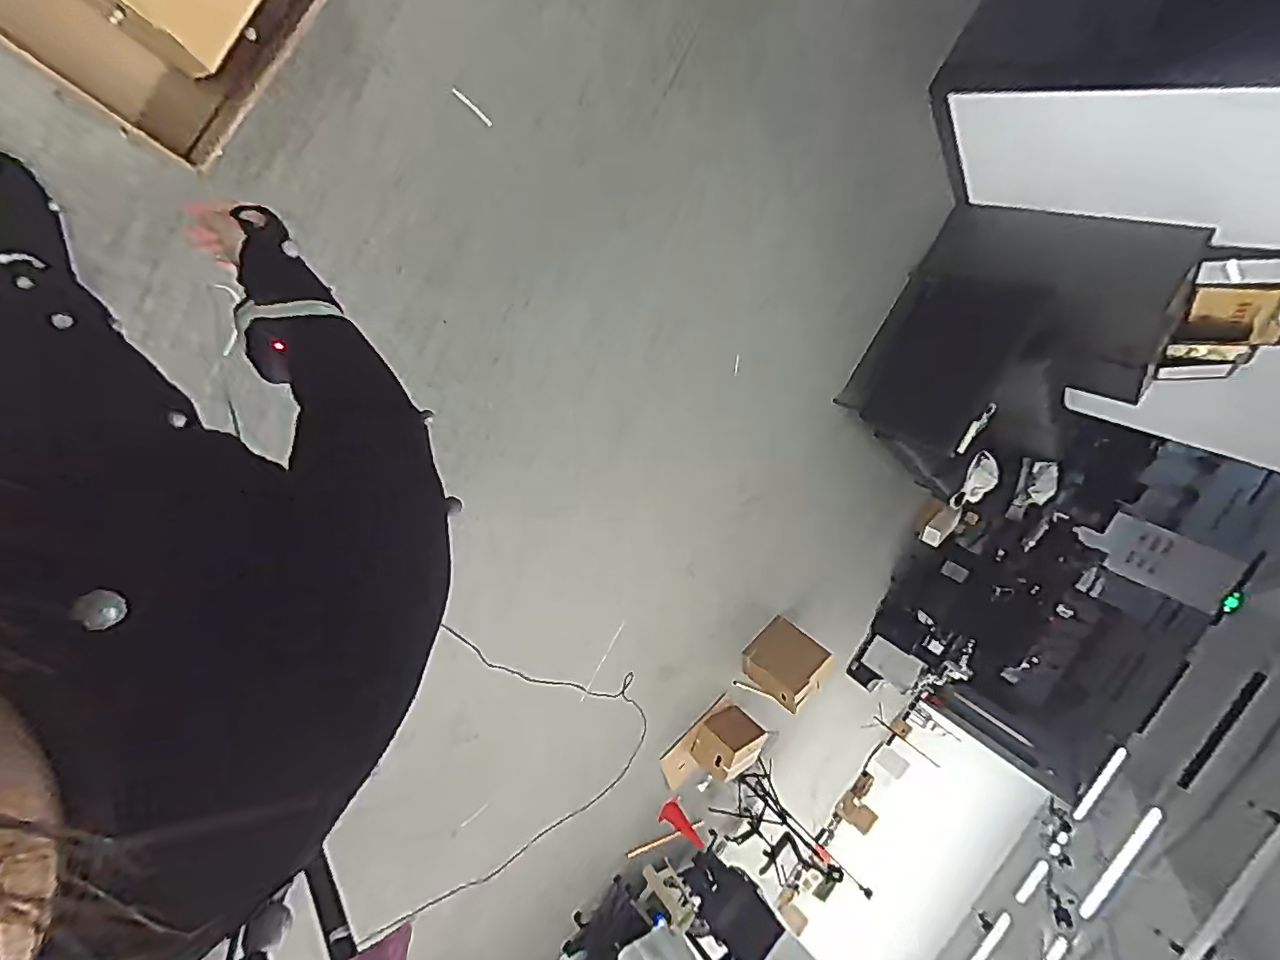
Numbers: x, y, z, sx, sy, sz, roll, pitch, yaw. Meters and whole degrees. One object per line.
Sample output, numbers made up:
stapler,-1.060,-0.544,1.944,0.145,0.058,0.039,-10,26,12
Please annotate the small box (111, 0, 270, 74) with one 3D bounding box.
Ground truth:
small box,-0.605,-0.678,0.707,0.179,0.176,0.168,-55,141,3
